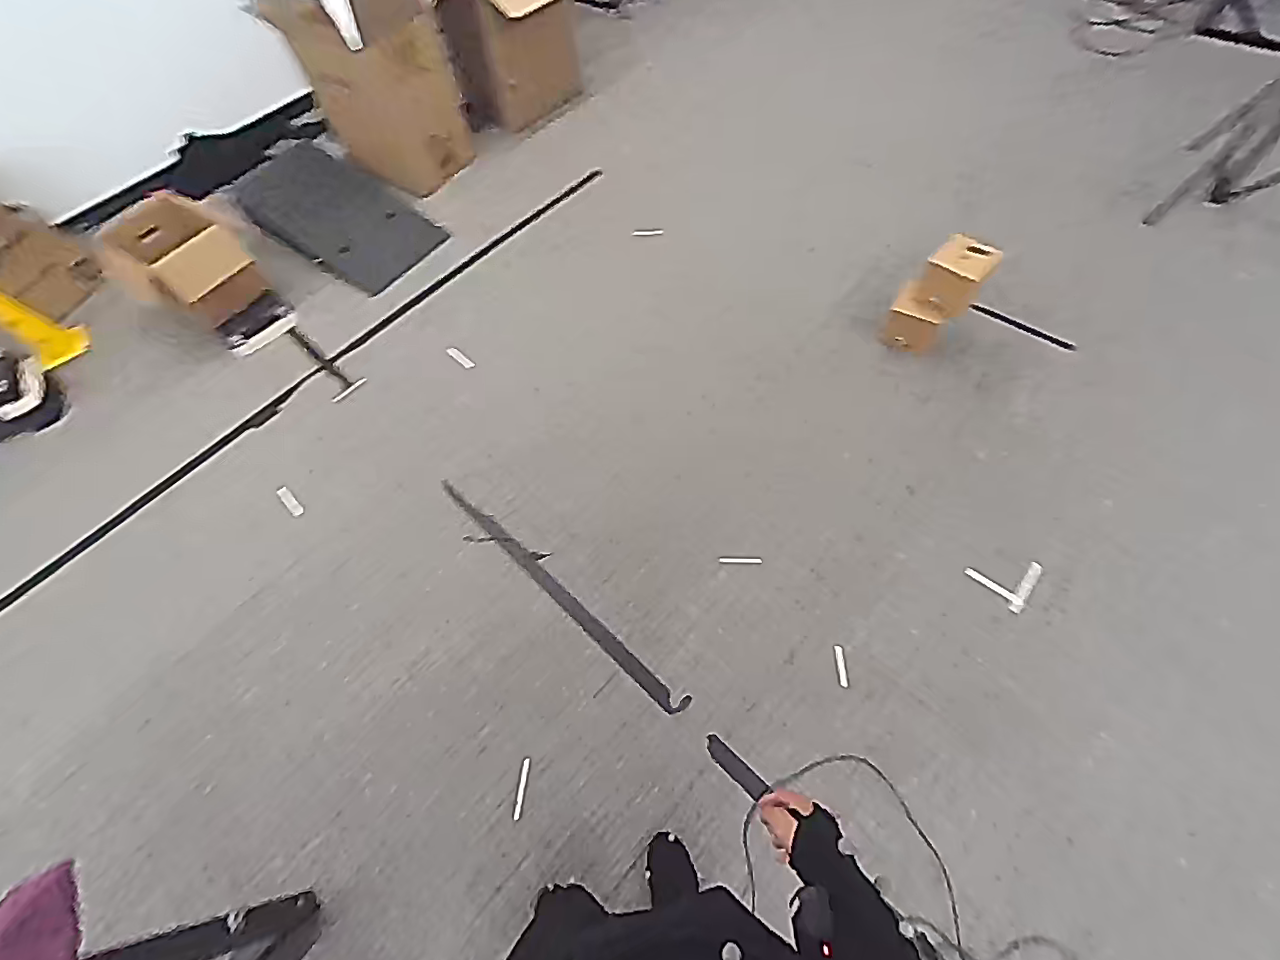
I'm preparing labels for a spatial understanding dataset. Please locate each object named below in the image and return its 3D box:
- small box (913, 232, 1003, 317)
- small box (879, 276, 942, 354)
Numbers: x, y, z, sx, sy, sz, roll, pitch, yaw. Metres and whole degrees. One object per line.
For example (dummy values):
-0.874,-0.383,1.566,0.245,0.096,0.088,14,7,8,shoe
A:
1.045,-0.680,1.795,0.179,0.176,0.168,-41,63,-16,small box
0.982,-0.589,1.938,0.168,0.176,0.179,26,66,20,small box
